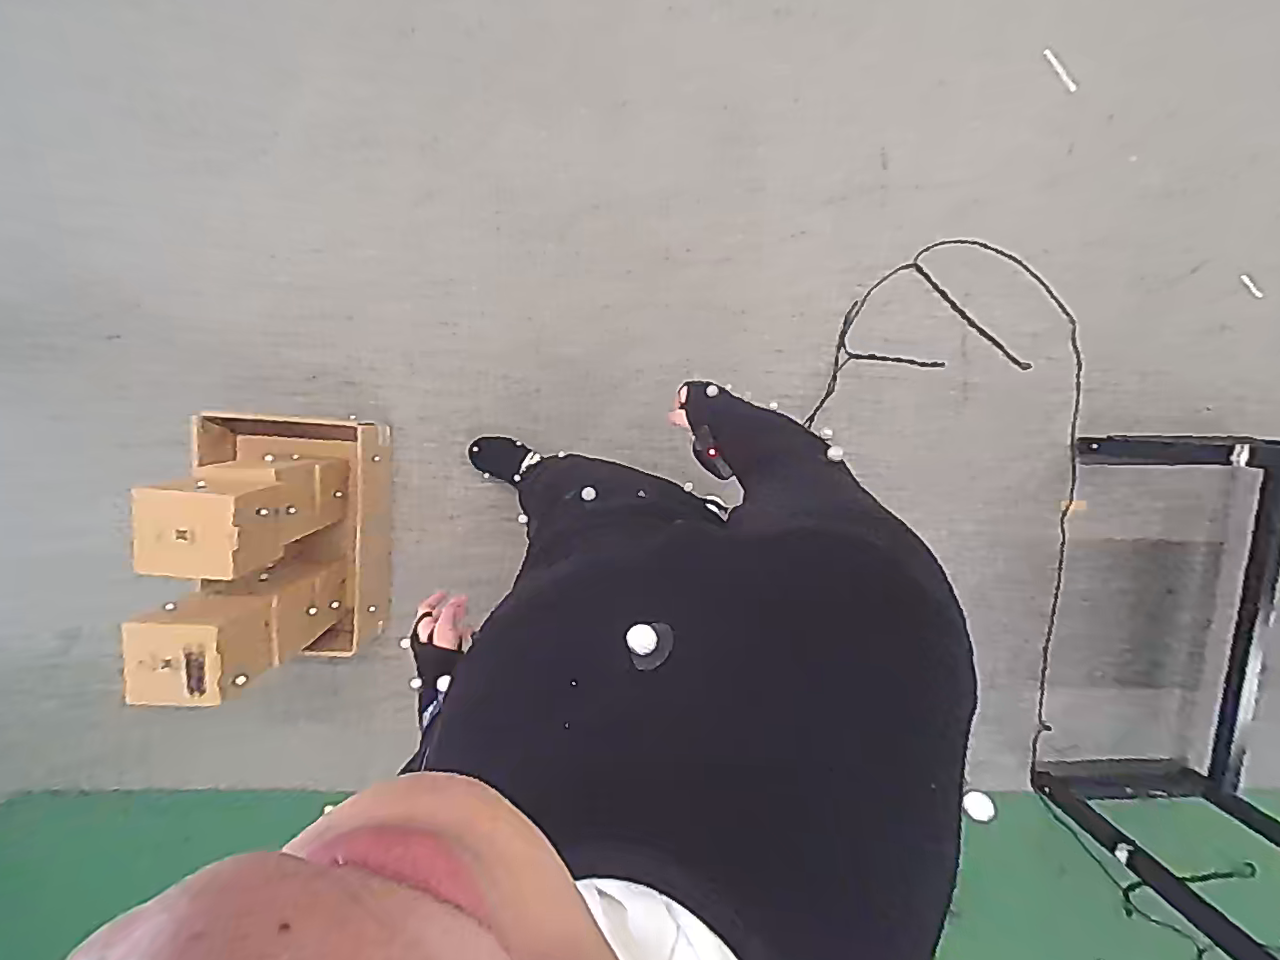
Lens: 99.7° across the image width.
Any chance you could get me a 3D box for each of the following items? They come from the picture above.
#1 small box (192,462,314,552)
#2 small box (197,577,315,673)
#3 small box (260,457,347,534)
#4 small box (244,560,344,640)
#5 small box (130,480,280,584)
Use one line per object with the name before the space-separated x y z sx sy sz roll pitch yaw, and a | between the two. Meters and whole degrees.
small box | -0.867 0.057 1.228 0.168 0.176 0.179 1 97 -5
small box | -0.886 0.330 1.260 0.168 0.176 0.179 3 95 -3
small box | -0.879 0.035 1.390 0.179 0.176 0.168 5 97 -4
small box | -0.902 0.311 1.425 0.179 0.176 0.168 3 96 -5
small box | -0.847 0.096 1.069 0.179 0.176 0.168 6 97 -5
